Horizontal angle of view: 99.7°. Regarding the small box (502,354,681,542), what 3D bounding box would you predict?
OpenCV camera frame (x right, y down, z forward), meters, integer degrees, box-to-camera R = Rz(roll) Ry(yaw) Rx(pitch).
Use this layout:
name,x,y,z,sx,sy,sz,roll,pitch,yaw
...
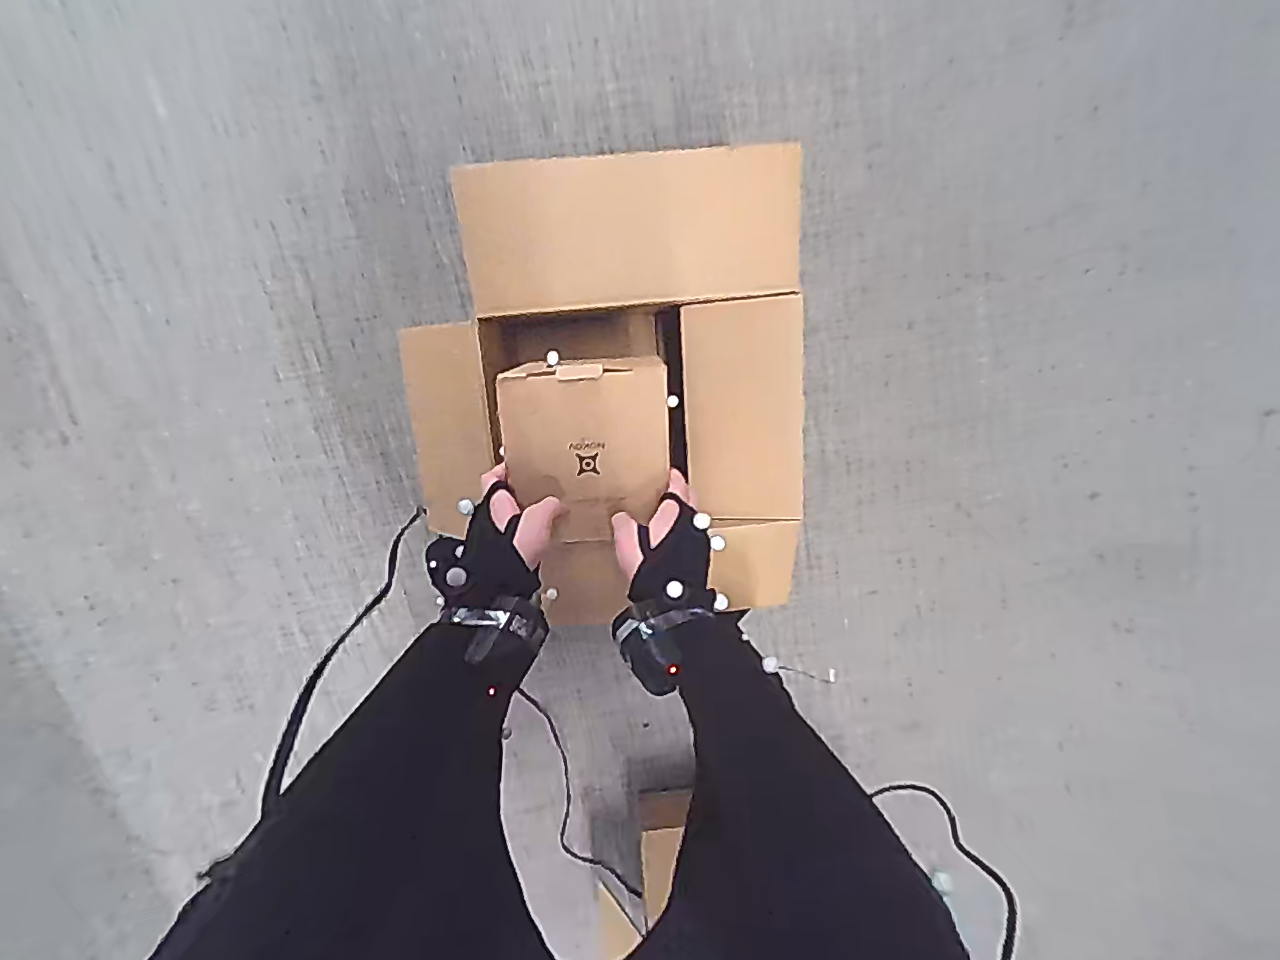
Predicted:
name,x,y,z,sx,sy,sz,roll,pitch,yaw
small box,-0.045,-0.046,0.599,0.168,0.176,0.179,-3,107,0
